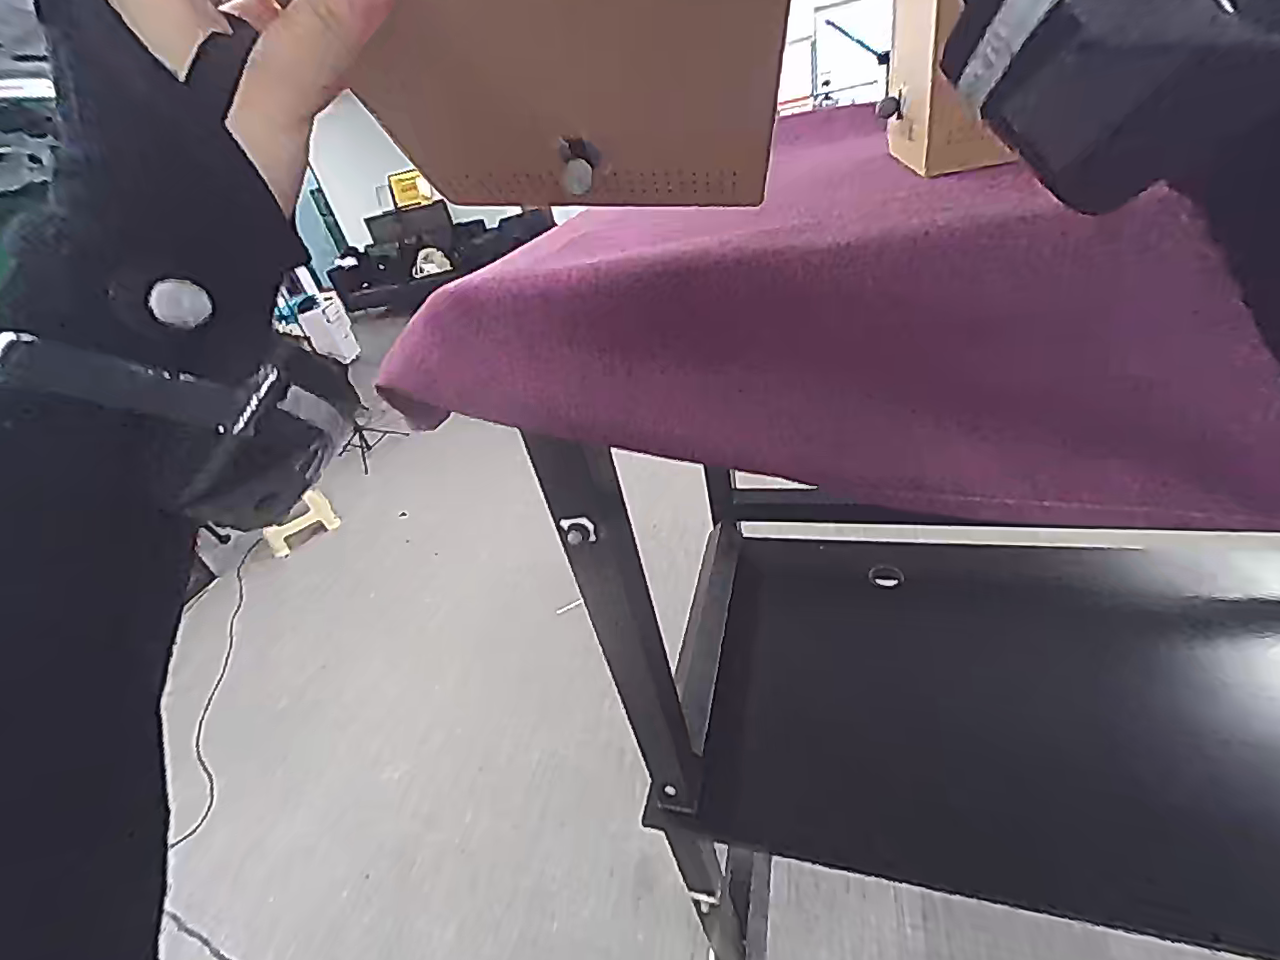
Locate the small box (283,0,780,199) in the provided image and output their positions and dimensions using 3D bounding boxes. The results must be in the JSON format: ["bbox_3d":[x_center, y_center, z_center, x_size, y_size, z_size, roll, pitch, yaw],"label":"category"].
[{"bbox_3d":[-0.029,-0.237,0.214,0.179,0.168,0.176,4,-6,8],"label":"small box"}]

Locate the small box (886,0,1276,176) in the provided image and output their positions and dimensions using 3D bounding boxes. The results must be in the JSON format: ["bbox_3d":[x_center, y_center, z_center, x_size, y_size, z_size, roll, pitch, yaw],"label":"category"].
[{"bbox_3d":[0.269,-0.318,0.352,0.179,0.176,0.168,-3,34,17],"label":"small box"}]
